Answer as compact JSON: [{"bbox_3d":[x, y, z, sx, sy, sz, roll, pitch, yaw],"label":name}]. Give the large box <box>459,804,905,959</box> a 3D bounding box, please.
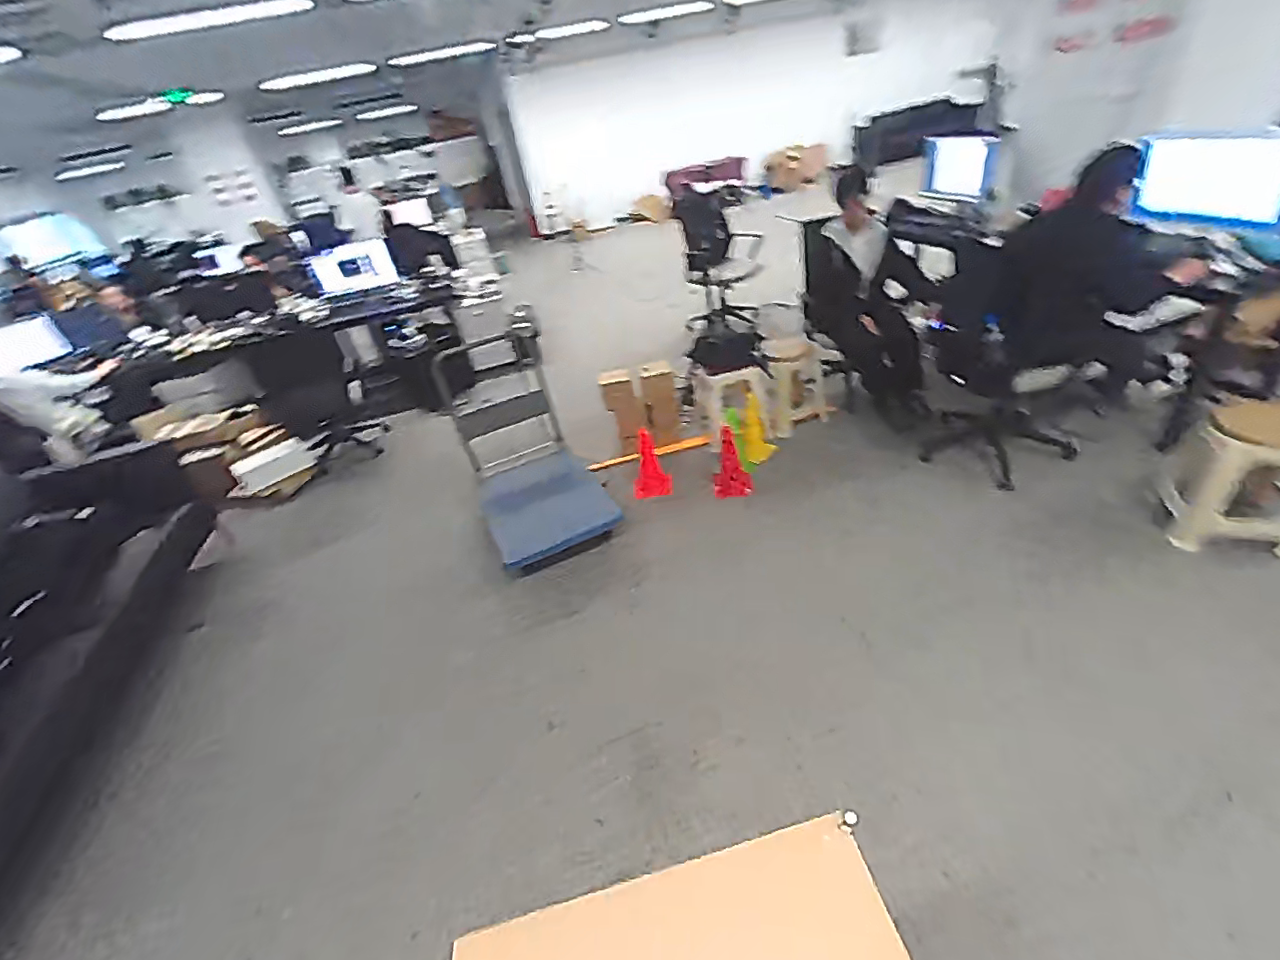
[{"bbox_3d":[0.068,0.600,0.537,0.408,0.320,0.320,-15,43,-6],"label":"large box"}]
